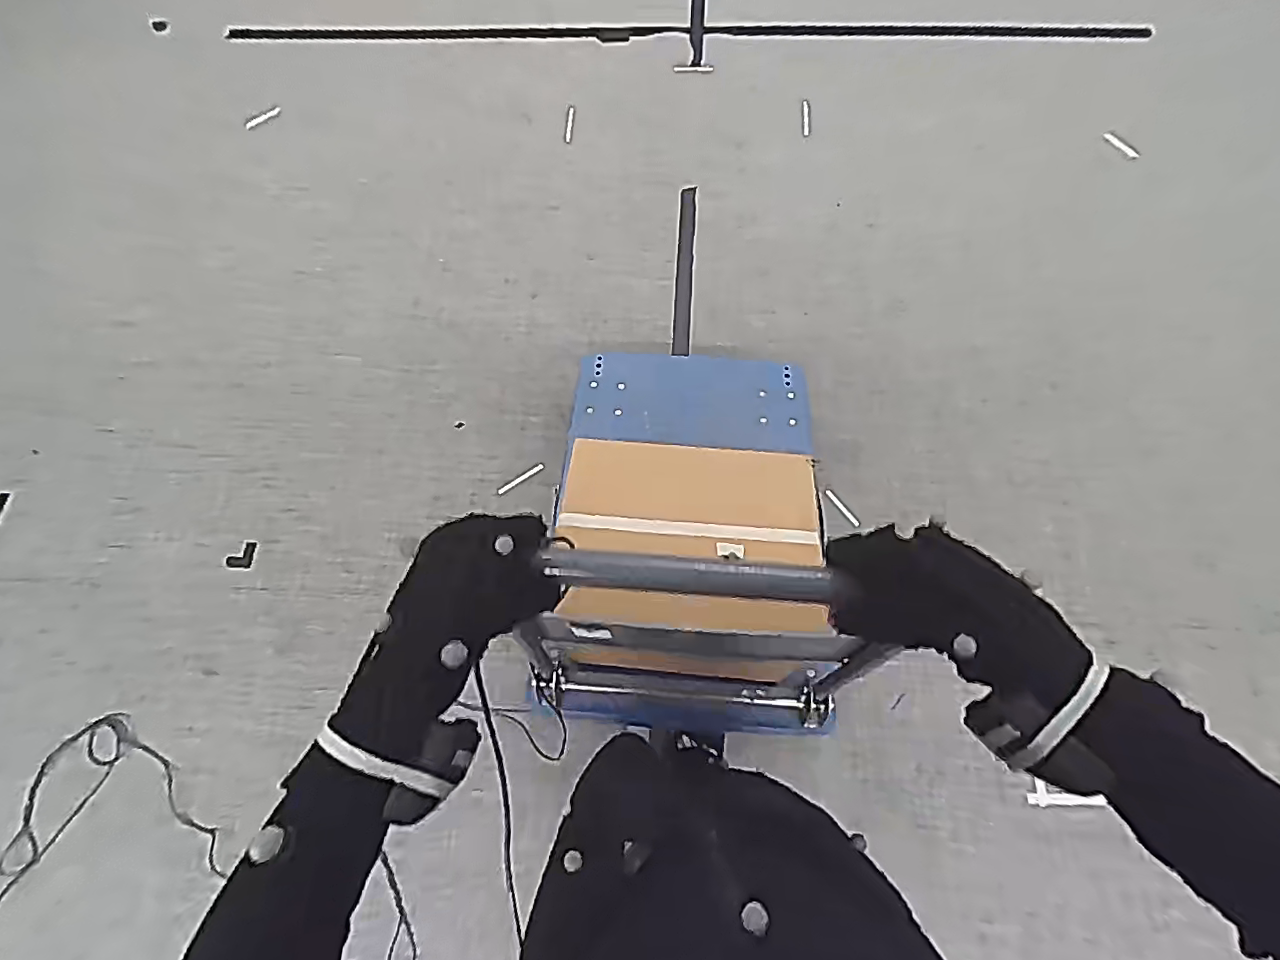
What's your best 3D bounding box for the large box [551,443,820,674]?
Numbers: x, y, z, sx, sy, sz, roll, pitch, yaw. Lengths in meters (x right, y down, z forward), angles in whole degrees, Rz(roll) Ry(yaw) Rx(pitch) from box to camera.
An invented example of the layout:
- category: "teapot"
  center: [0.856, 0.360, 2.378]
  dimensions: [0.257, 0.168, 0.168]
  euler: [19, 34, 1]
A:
- category: "large box"
  center: [0.073, 0.154, 0.989]
  dimensions: [0.408, 0.320, 0.320]
  euler: [5, 60, 2]
